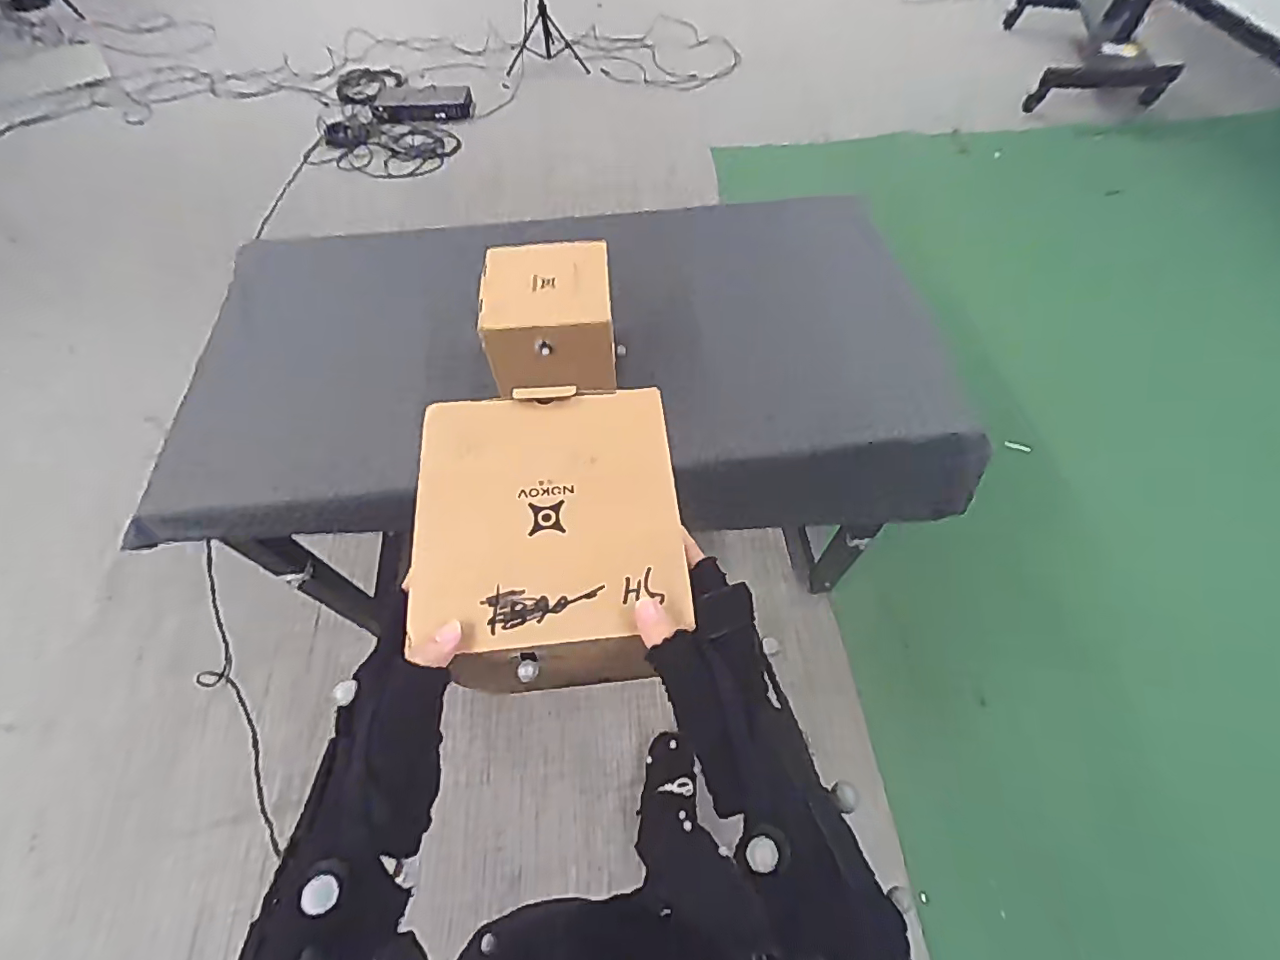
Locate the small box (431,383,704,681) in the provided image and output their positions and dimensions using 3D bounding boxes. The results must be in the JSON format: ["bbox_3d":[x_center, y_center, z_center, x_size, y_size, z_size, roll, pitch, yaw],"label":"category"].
[{"bbox_3d":[-0.056,0.048,0.430,0.168,0.176,0.179,-7,64,-6],"label":"small box"}]

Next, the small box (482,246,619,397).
[{"bbox_3d":[-0.126,-0.227,0.822,0.179,0.176,0.168,-4,59,-2],"label":"small box"}]
